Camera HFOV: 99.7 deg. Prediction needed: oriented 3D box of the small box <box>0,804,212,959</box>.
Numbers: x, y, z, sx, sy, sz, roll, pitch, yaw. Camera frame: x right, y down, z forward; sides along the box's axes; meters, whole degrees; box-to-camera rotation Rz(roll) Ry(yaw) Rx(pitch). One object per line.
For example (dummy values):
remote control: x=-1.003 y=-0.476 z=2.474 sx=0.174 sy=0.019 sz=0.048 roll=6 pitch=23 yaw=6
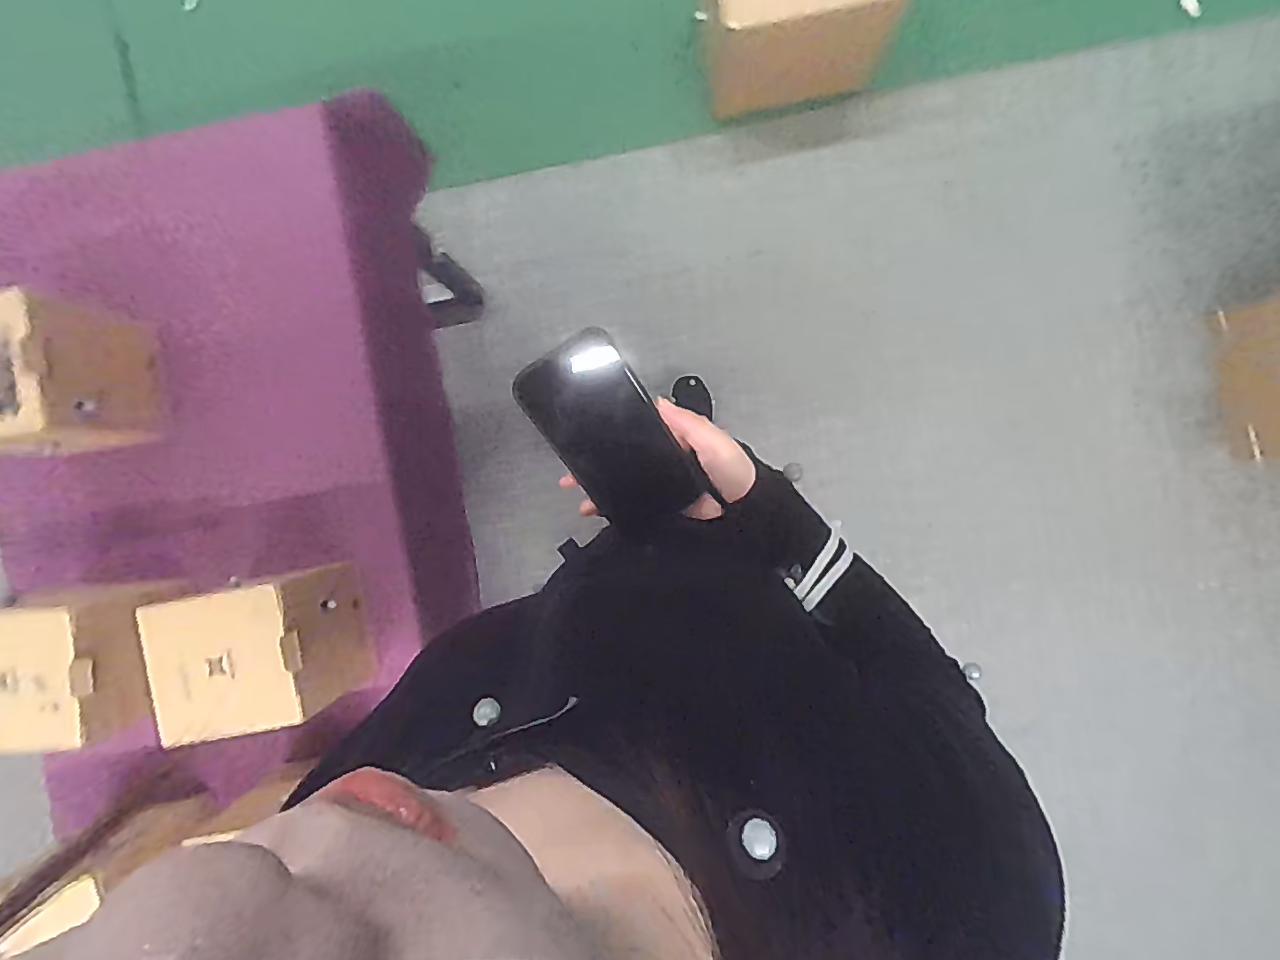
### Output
small box: x=-0.698 y=0.565 z=0.714 sx=0.179 sy=0.176 sz=0.168 roll=-15 pitch=89 yaw=1

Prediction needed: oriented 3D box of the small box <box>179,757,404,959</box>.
small box: x=-0.430 y=0.487 z=0.702 sx=0.179 sy=0.176 sz=0.168 roll=-12 pitch=89 yaw=4

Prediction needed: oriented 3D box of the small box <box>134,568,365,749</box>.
small box: x=-0.485 y=0.218 z=0.704 sx=0.179 sy=0.176 sz=0.168 roll=-11 pitch=89 yaw=4

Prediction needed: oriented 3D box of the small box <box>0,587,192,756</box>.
small box: x=-0.741 y=0.242 z=0.713 sx=0.179 sy=0.176 sz=0.168 roll=-4 pitch=91 yaw=2
